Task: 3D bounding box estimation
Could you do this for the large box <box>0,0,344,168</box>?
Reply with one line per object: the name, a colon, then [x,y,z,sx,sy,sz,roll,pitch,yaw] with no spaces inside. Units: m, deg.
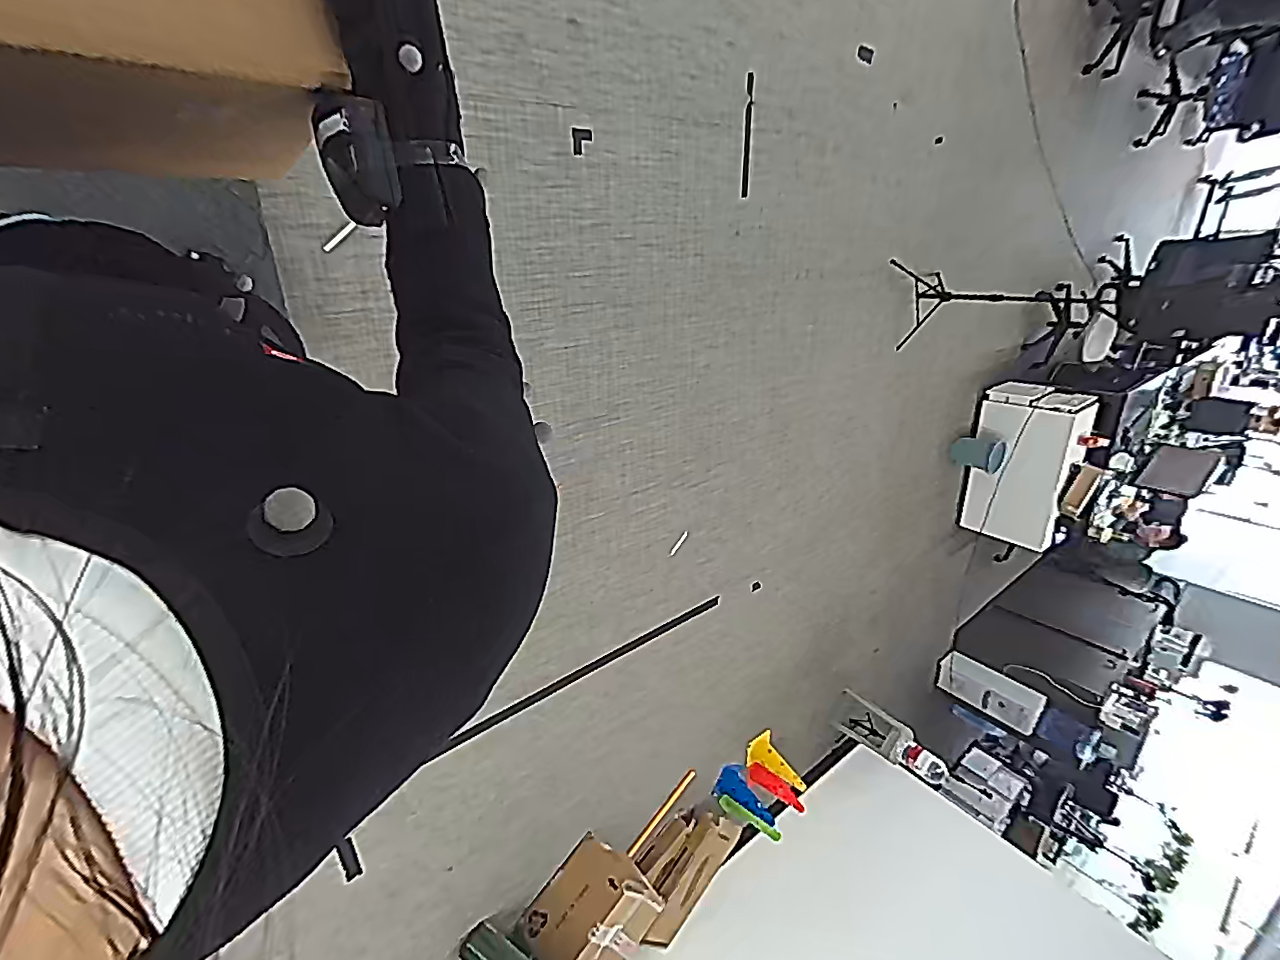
large box: [-0.441,-0.369,0.278,0.408,0.320,0.320,-20,117,-36]
